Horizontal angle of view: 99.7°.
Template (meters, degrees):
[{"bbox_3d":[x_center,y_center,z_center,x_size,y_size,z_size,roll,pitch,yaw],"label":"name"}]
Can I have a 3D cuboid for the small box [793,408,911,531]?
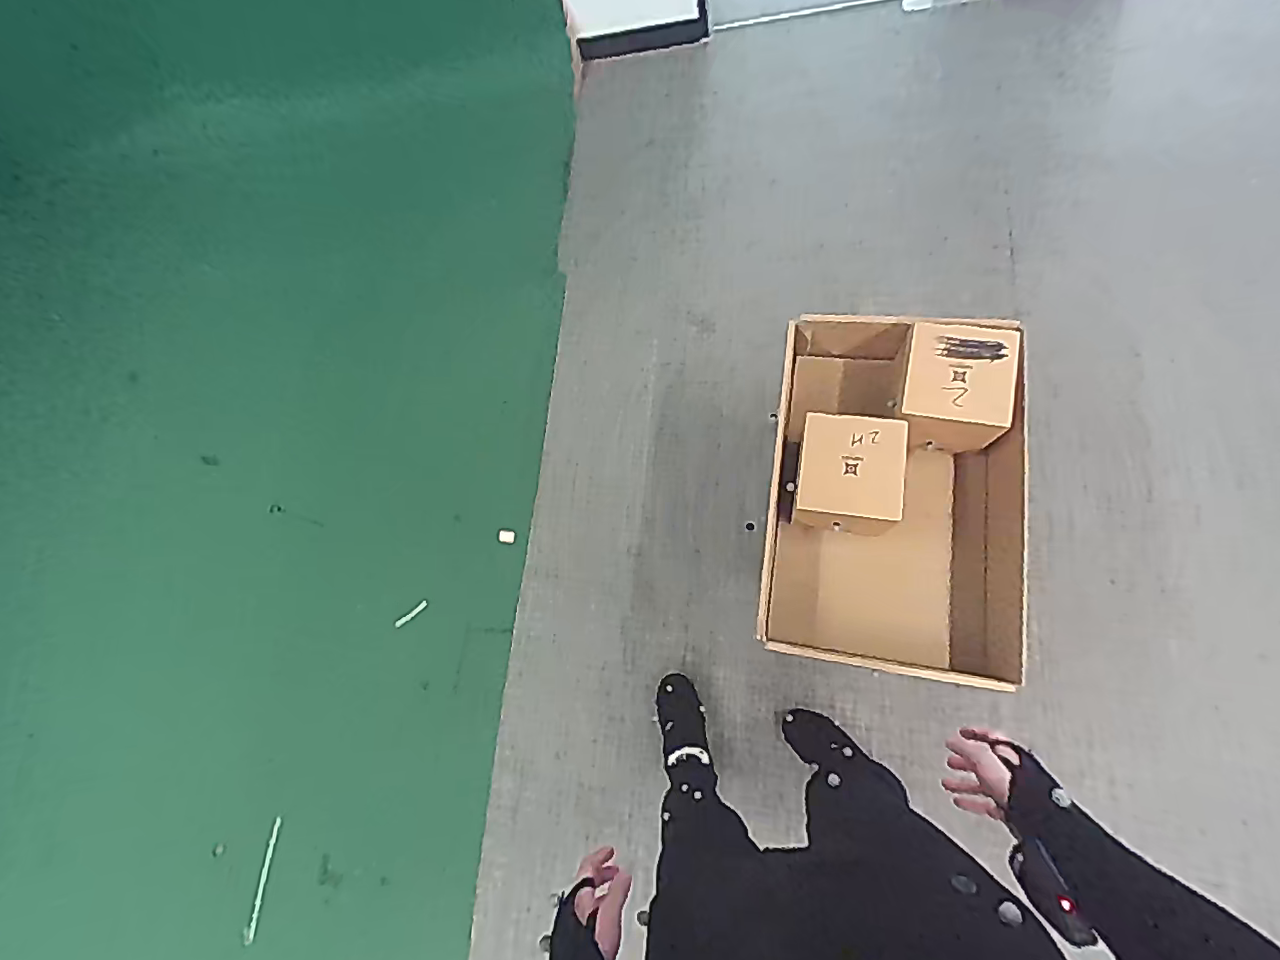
[{"bbox_3d":[0.369,-0.012,0.966,0.168,0.176,0.179,8,78,14],"label":"small box"}]
